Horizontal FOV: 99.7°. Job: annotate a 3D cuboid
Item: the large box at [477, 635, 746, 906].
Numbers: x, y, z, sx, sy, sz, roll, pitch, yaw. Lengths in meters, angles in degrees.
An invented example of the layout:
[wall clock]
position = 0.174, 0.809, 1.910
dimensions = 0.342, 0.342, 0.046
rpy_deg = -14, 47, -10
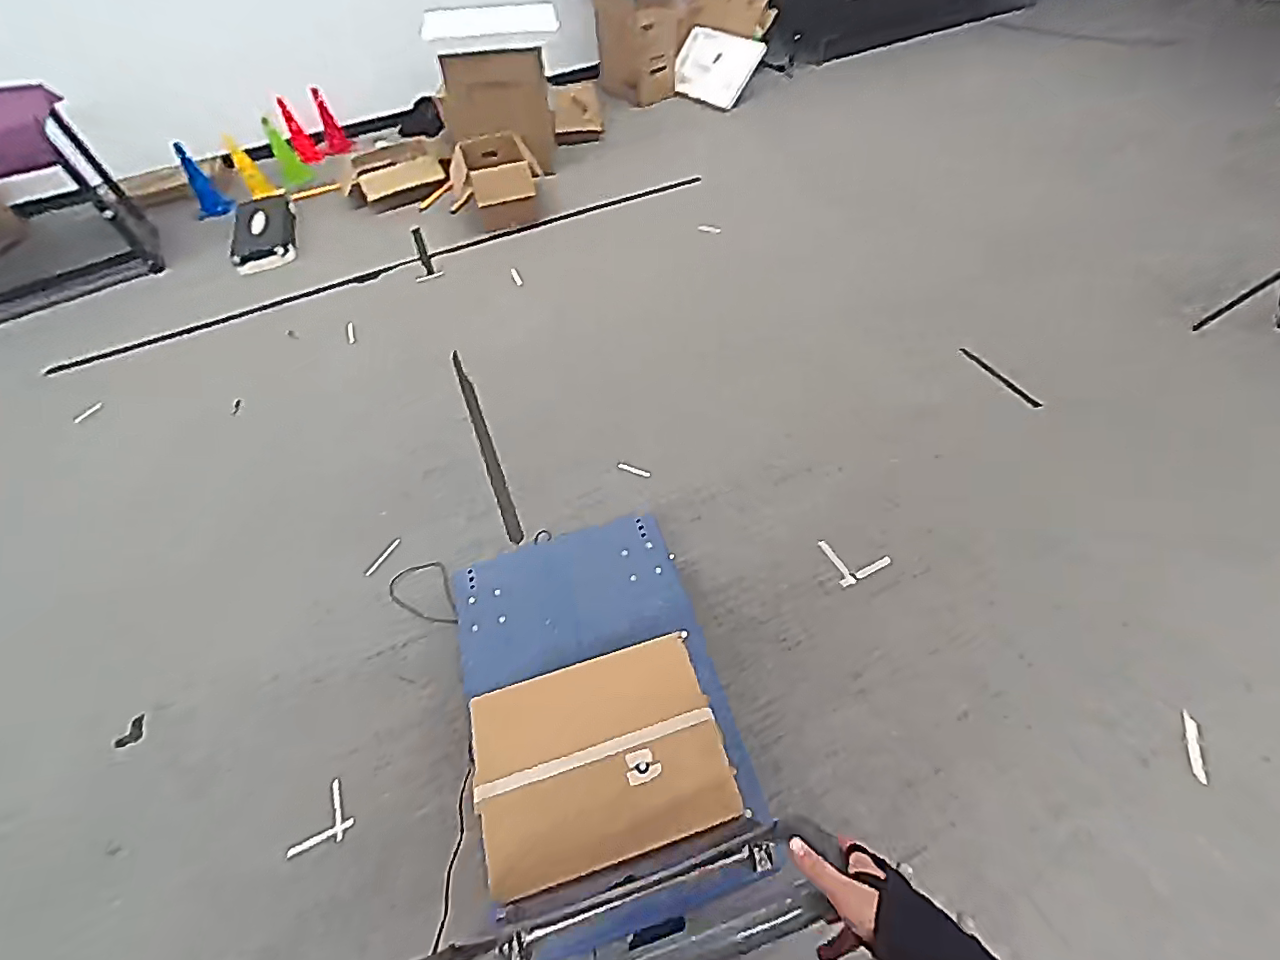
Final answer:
[large box]
position = -0.055, 0.554, 1.032
dimensions = 0.408, 0.320, 0.320
rpy_deg = -16, 54, -8
